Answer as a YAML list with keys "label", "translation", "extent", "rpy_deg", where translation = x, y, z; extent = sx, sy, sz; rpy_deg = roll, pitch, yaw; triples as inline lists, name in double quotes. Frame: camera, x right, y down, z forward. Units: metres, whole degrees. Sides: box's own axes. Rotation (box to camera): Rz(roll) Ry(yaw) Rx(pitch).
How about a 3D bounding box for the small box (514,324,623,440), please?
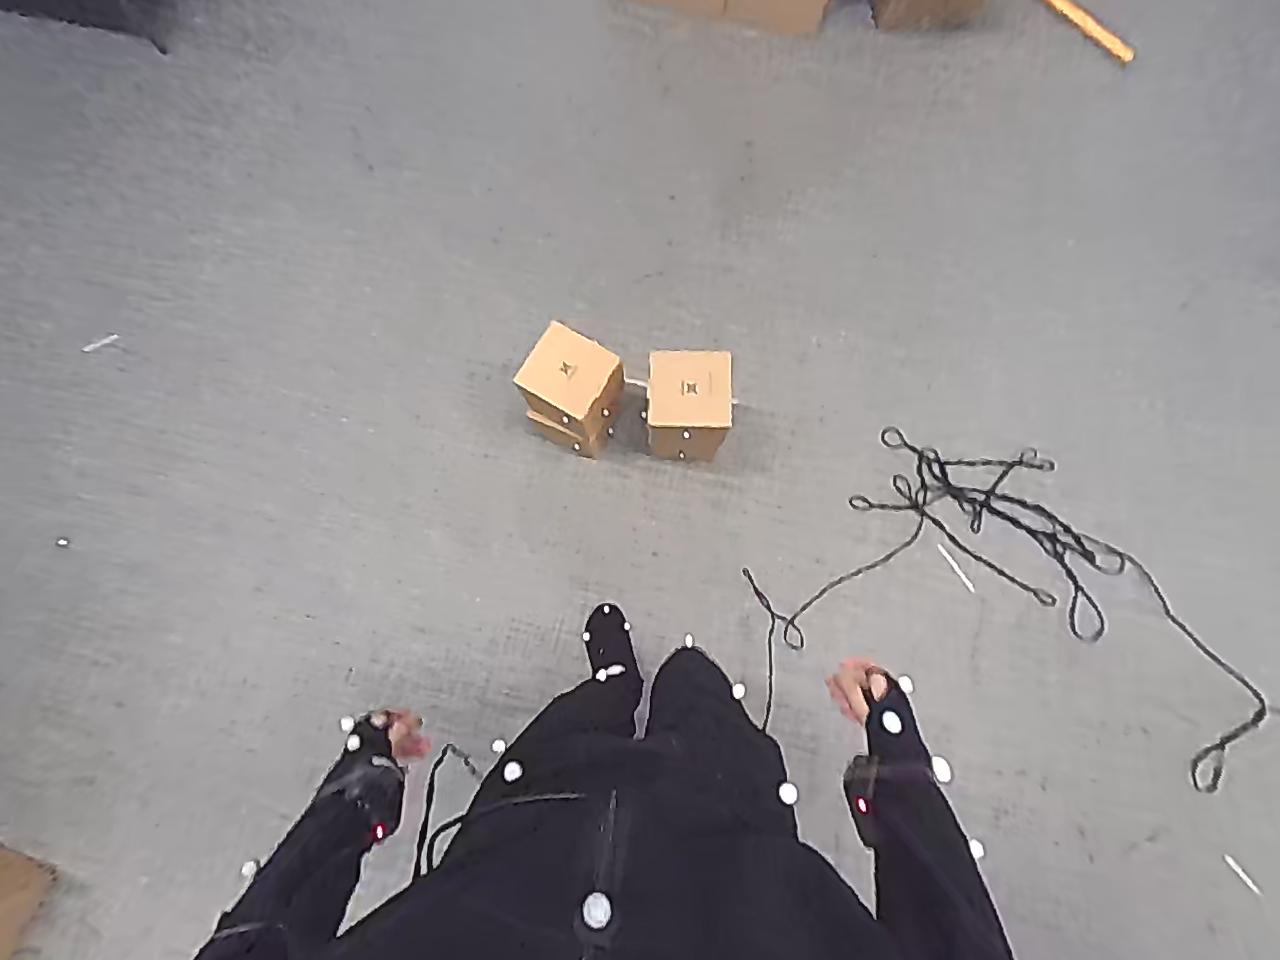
- label: "small box"
  translation: [-0.153, -0.213, 1.225]
  extent: [0.179, 0.176, 0.168]
  rpy_deg: [30, 80, 6]

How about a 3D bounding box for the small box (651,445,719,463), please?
- label: "small box"
  translation: [0.118, -0.148, 1.368]
  extent: [0.168, 0.176, 0.179]
  rpy_deg: [5, 78, 3]

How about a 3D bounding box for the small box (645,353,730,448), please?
- label: "small box"
  translation: [0.104, -0.171, 1.206]
  extent: [0.179, 0.176, 0.168]
  rpy_deg: [1, 79, 2]
